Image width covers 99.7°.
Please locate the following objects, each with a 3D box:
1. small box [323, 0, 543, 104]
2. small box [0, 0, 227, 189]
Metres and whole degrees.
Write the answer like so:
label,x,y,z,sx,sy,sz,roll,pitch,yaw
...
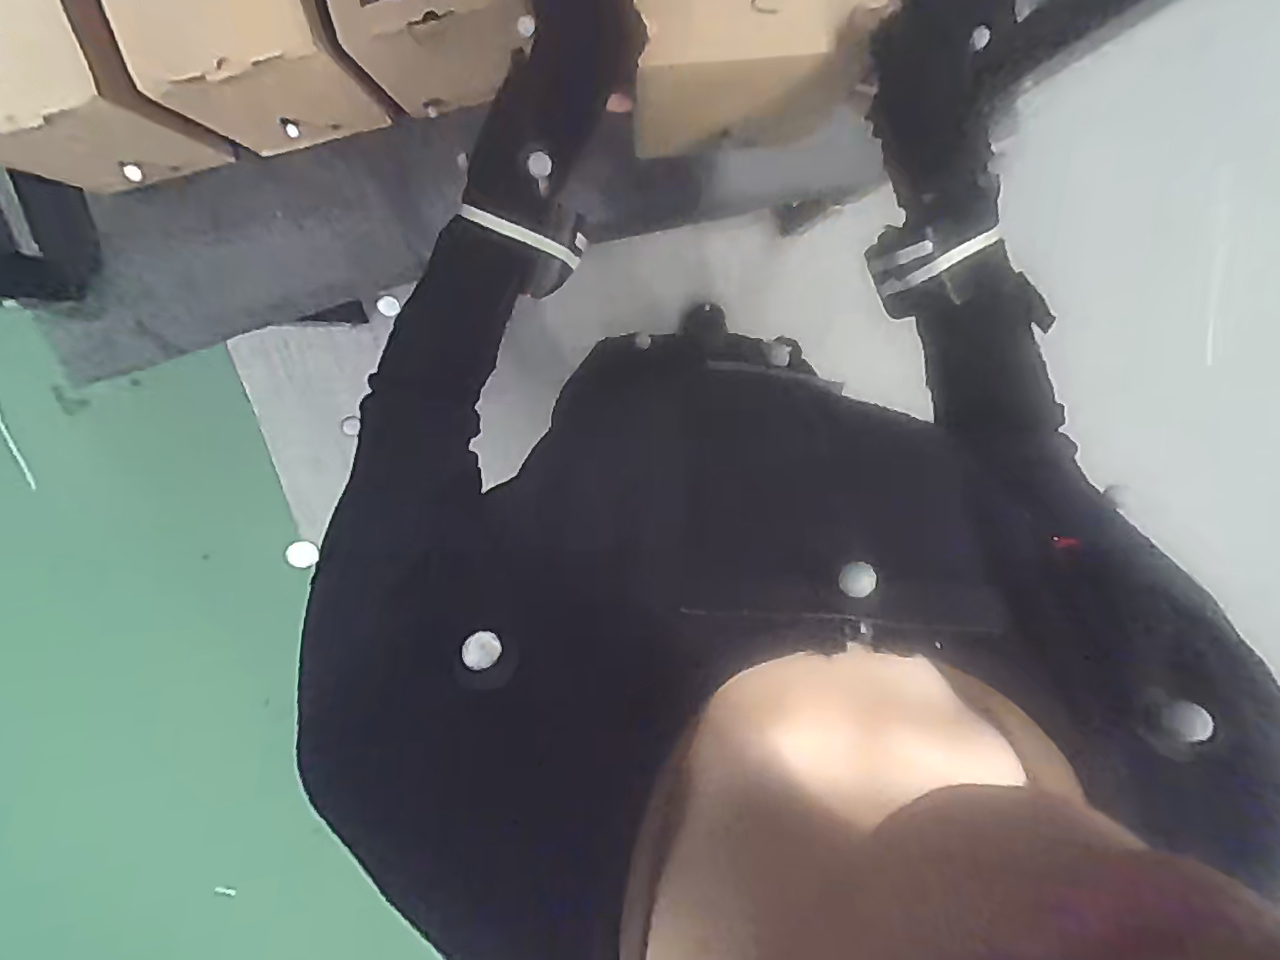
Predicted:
label,x,y,z,sx,sy,sz,roll,pitch,yaw
small box,-0.200,-0.494,0.517,0.168,0.176,0.179,-12,104,2
small box,-0.567,-0.417,0.530,0.168,0.176,0.179,-12,104,3
